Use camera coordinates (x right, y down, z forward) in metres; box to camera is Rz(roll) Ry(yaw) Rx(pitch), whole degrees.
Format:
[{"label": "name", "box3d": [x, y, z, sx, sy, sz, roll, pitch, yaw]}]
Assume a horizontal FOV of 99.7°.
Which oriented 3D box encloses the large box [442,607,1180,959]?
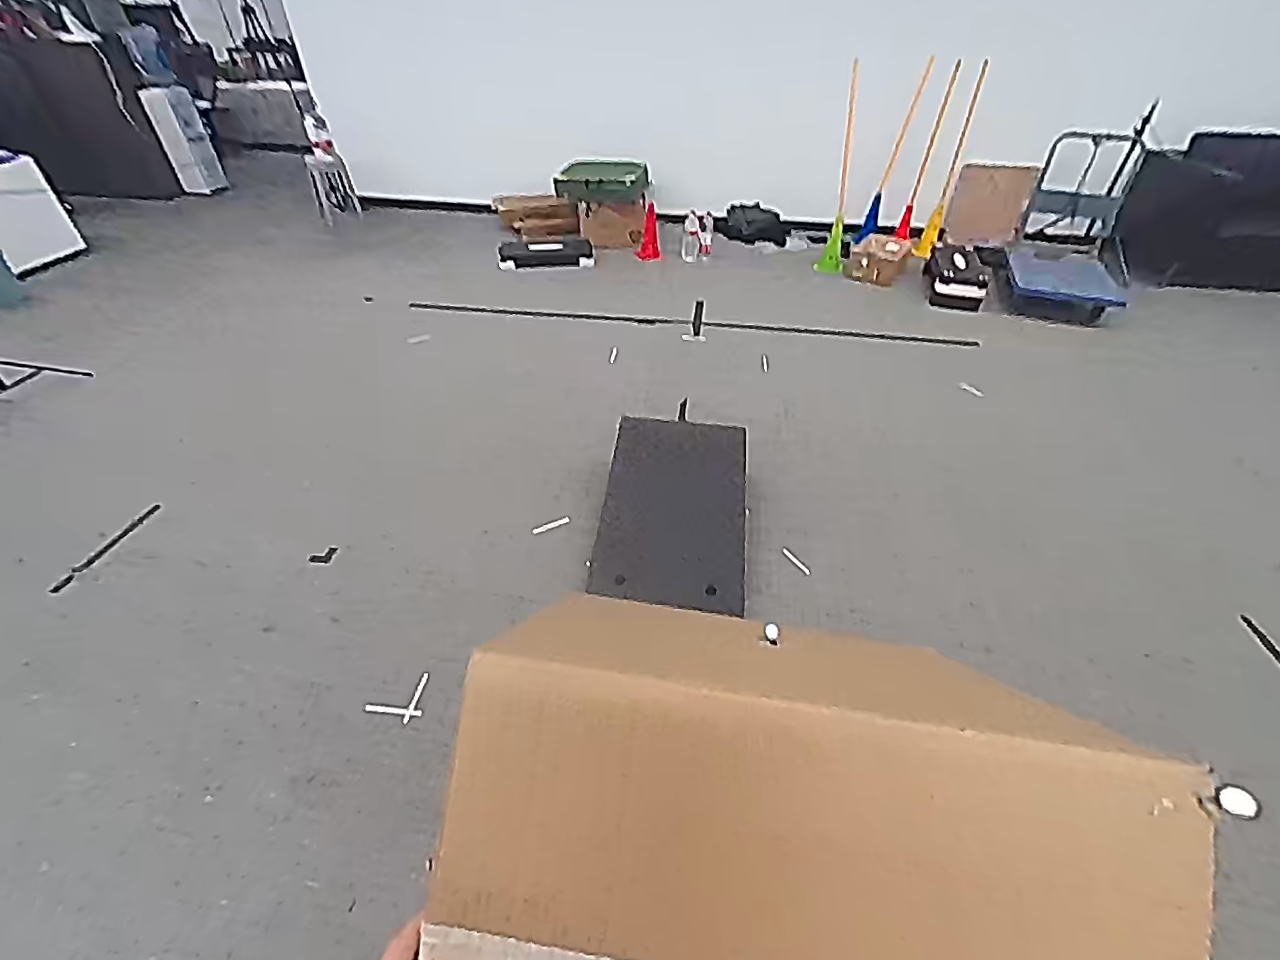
[{"label": "large box", "box3d": [0.089, 0.298, 0.446, 0.408, 0.320, 0.320, 7, 86, 3]}]
